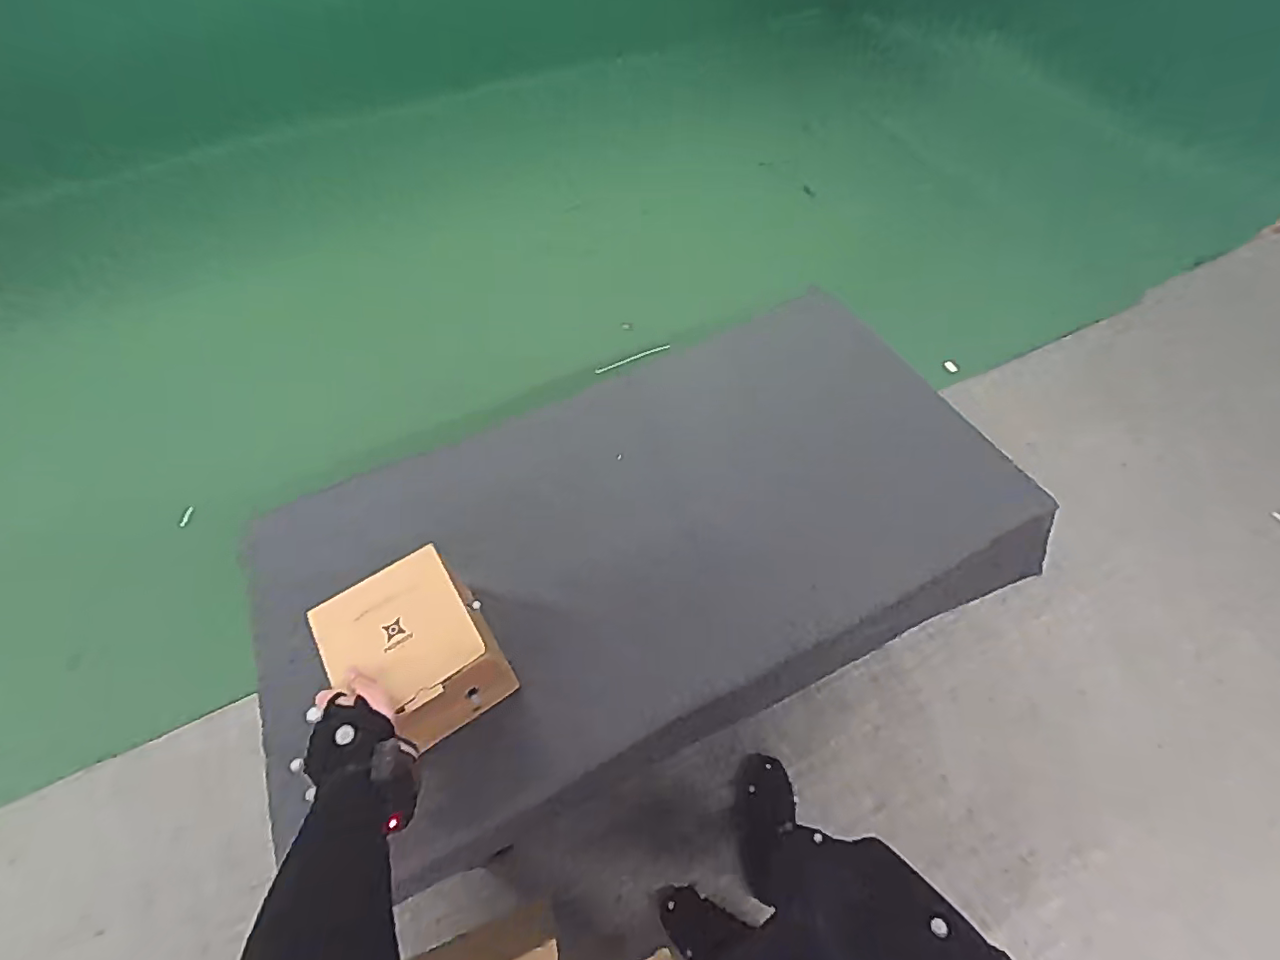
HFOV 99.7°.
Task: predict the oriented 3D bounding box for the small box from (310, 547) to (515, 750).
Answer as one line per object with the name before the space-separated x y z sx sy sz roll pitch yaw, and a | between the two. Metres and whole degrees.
small box | -0.286 0.227 0.709 0.168 0.176 0.179 -31 59 -17
